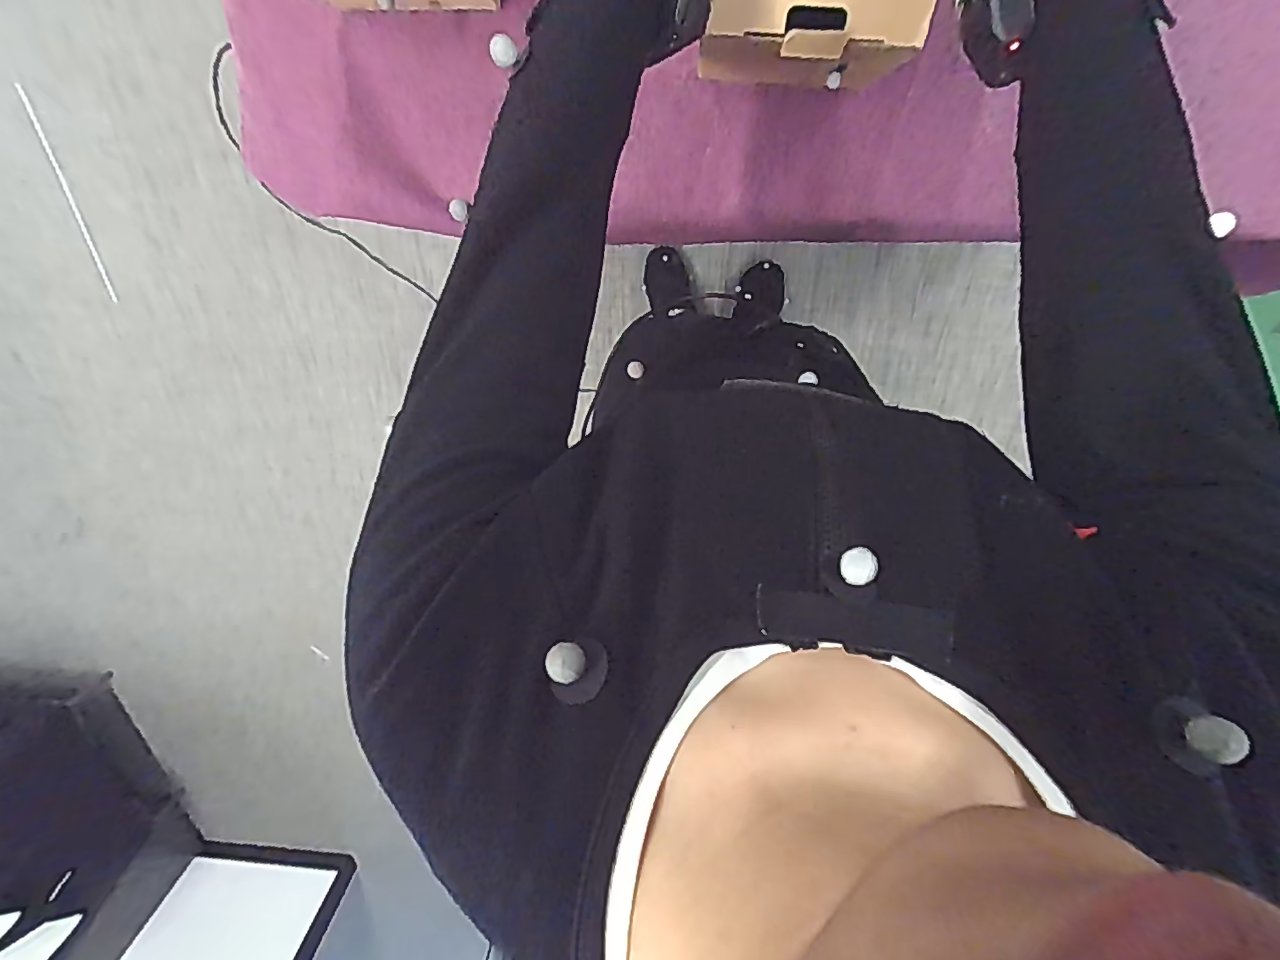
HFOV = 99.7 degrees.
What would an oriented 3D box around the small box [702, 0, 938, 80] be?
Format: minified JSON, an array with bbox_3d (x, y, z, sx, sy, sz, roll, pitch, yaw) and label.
[{"bbox_3d":[0.141,-0.435,0.423,0.168,0.176,0.179,6,118,2],"label":"small box"}]
